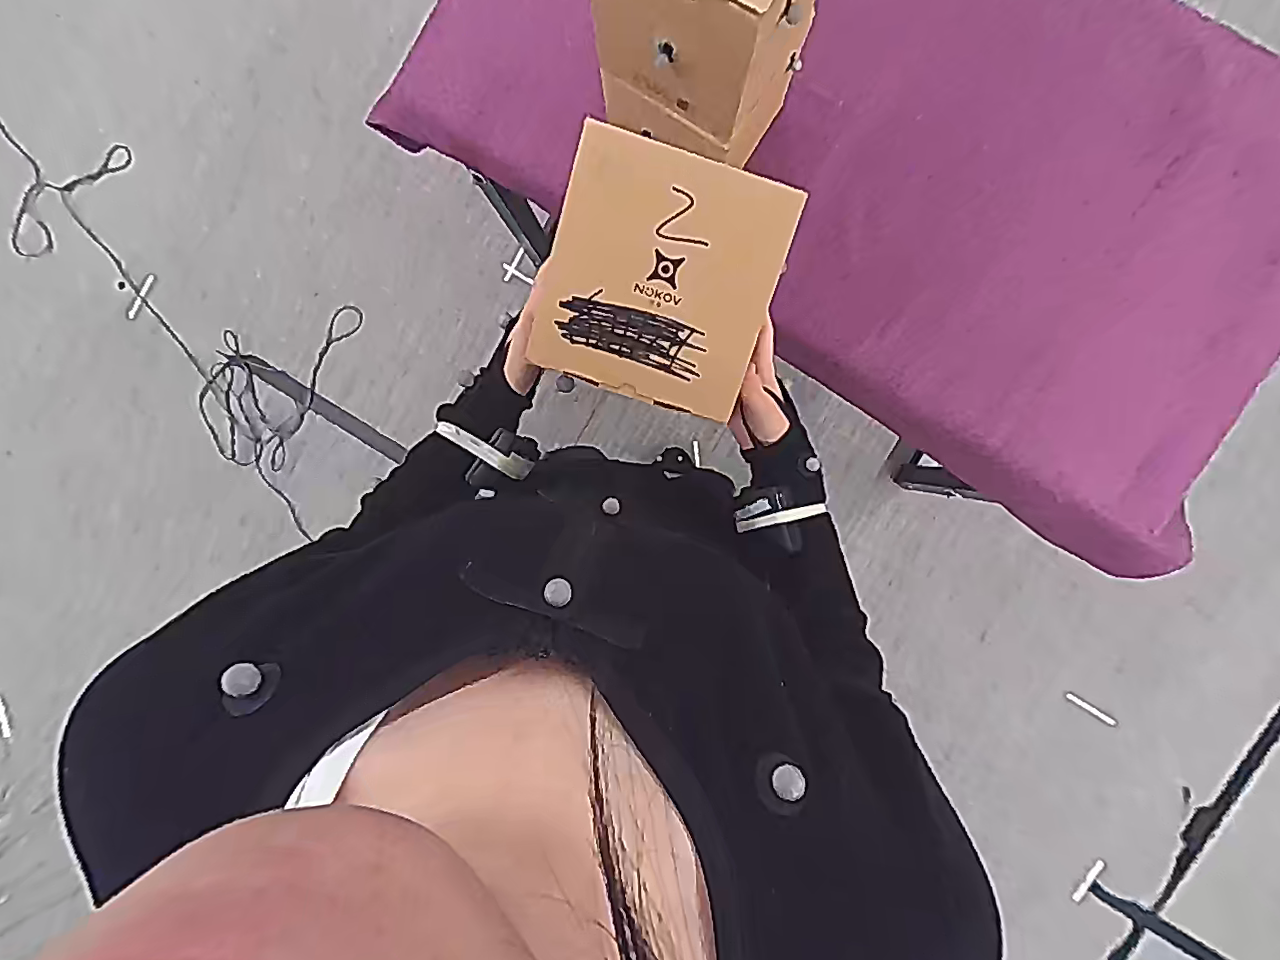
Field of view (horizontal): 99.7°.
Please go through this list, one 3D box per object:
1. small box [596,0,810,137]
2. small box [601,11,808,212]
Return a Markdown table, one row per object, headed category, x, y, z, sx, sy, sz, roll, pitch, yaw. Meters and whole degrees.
| category | x | y | z | sx | sy | sz | roll | pitch | yaw |
| --- | --- | --- | --- | --- | --- | --- | --- | --- | --- |
| small box | 0.069 | -0.471 | 0.500 | 0.168 | 0.176 | 0.179 | 31 | 93 | -1 |
| small box | 0.073 | -0.473 | 0.665 | 0.168 | 0.176 | 0.179 | 32 | 93 | 0 |
